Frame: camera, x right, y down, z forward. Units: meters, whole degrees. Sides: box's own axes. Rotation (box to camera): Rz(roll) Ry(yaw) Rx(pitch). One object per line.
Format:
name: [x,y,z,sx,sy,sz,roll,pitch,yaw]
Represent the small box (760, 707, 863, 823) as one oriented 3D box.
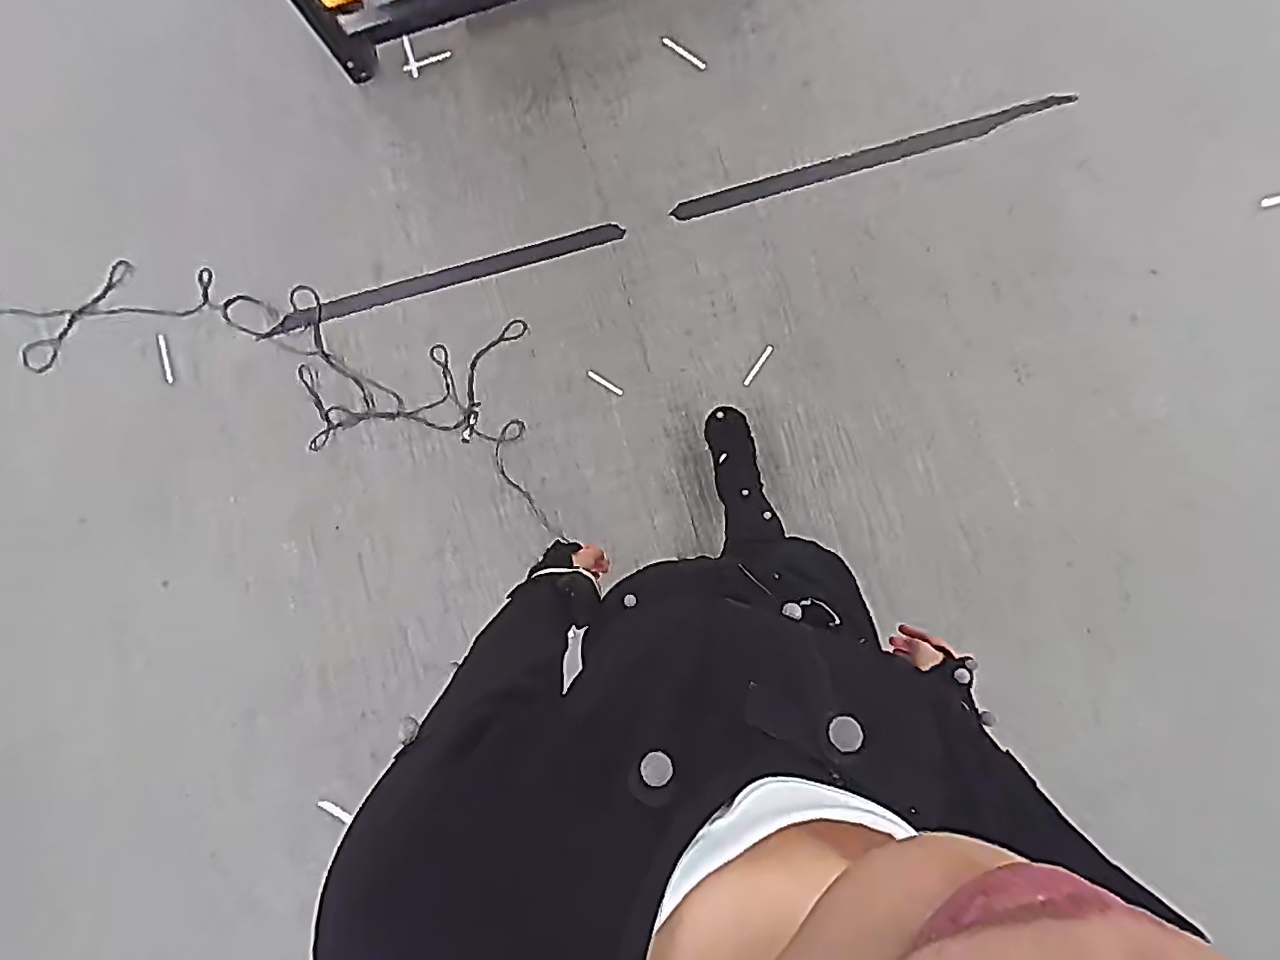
small box: [0.394,0.665,1.279,0.179,0.176,0.168,-17,87,2]
